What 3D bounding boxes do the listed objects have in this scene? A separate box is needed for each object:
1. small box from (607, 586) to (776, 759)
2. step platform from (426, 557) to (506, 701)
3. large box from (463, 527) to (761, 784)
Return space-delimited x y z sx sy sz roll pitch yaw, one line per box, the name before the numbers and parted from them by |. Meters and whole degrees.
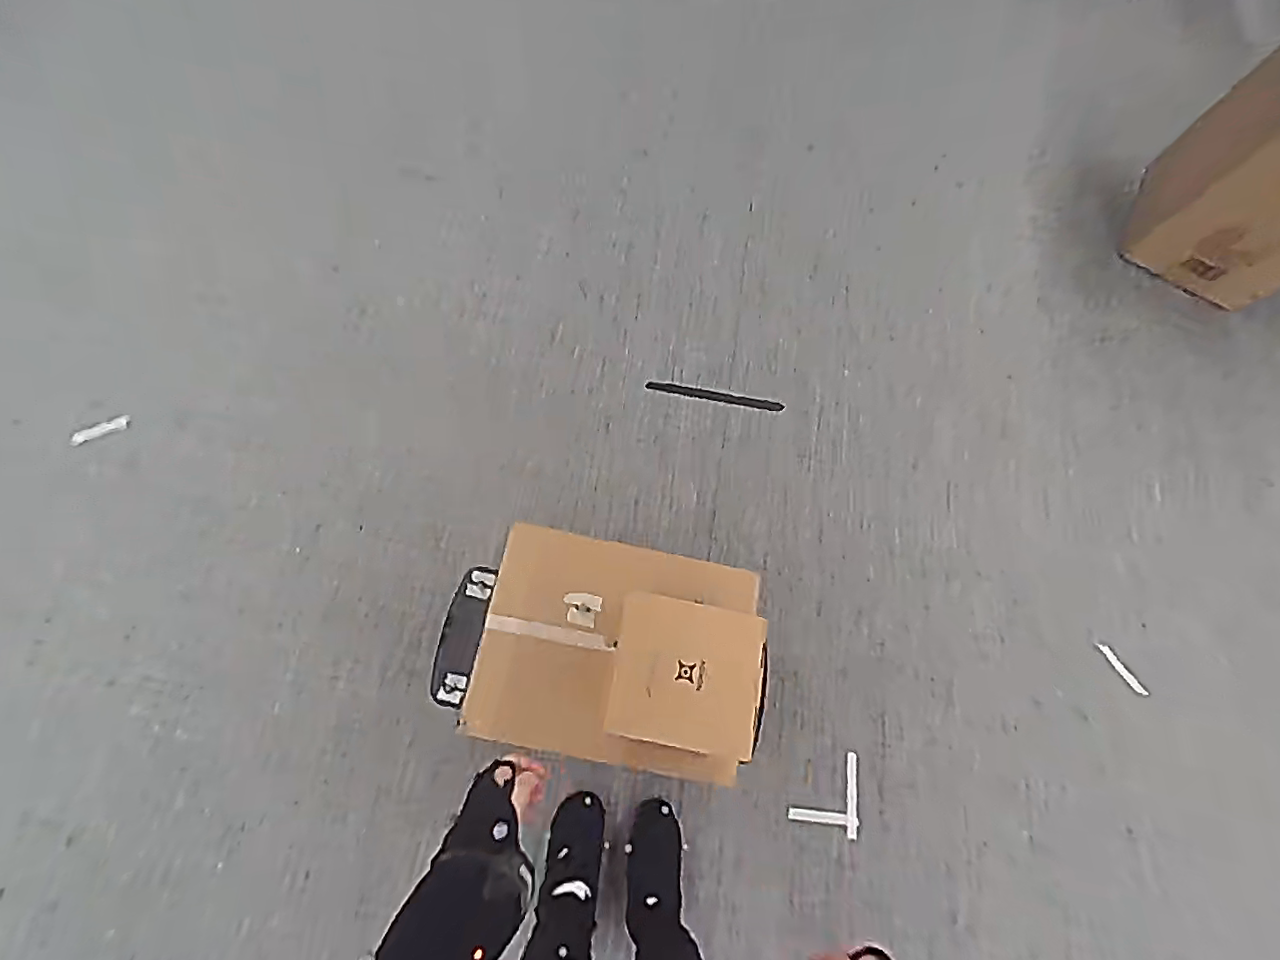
small box | 0.060 0.245 0.708 0.179 0.176 0.168 12 71 0
step platform | -0.088 0.392 1.158 0.684 0.204 0.286 16 71 2
large box | -0.035 0.296 0.942 0.408 0.320 0.320 11 70 0
